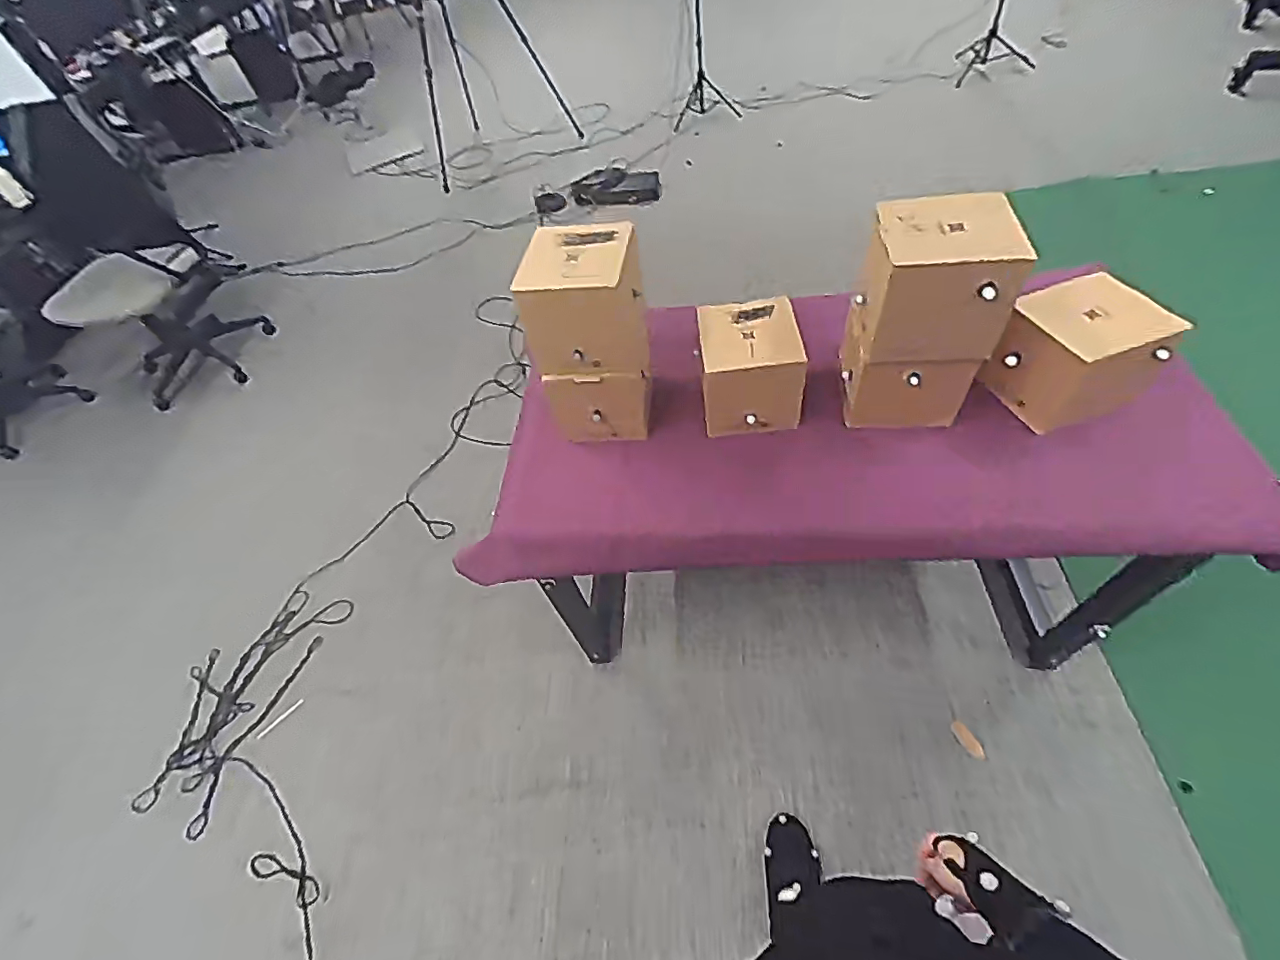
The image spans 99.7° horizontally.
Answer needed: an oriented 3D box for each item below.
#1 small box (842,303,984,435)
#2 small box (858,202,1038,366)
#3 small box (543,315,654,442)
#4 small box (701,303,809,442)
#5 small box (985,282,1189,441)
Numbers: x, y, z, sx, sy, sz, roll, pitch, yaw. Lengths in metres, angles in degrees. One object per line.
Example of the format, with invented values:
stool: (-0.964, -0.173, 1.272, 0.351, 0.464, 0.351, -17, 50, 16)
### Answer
small box: (0.454, -0.191, 0.936, 0.179, 0.176, 0.168, 1, 54, 11)
small box: (0.436, -0.283, 0.800, 0.179, 0.176, 0.168, 1, 53, 11)
small box: (-0.067, -0.184, 1.018, 0.168, 0.176, 0.179, 0, 53, 9)
small box: (0.198, -0.192, 0.978, 0.168, 0.176, 0.179, -5, 52, 6)
small box: (0.709, -0.190, 0.891, 0.179, 0.176, 0.168, -18, 51, -4)
